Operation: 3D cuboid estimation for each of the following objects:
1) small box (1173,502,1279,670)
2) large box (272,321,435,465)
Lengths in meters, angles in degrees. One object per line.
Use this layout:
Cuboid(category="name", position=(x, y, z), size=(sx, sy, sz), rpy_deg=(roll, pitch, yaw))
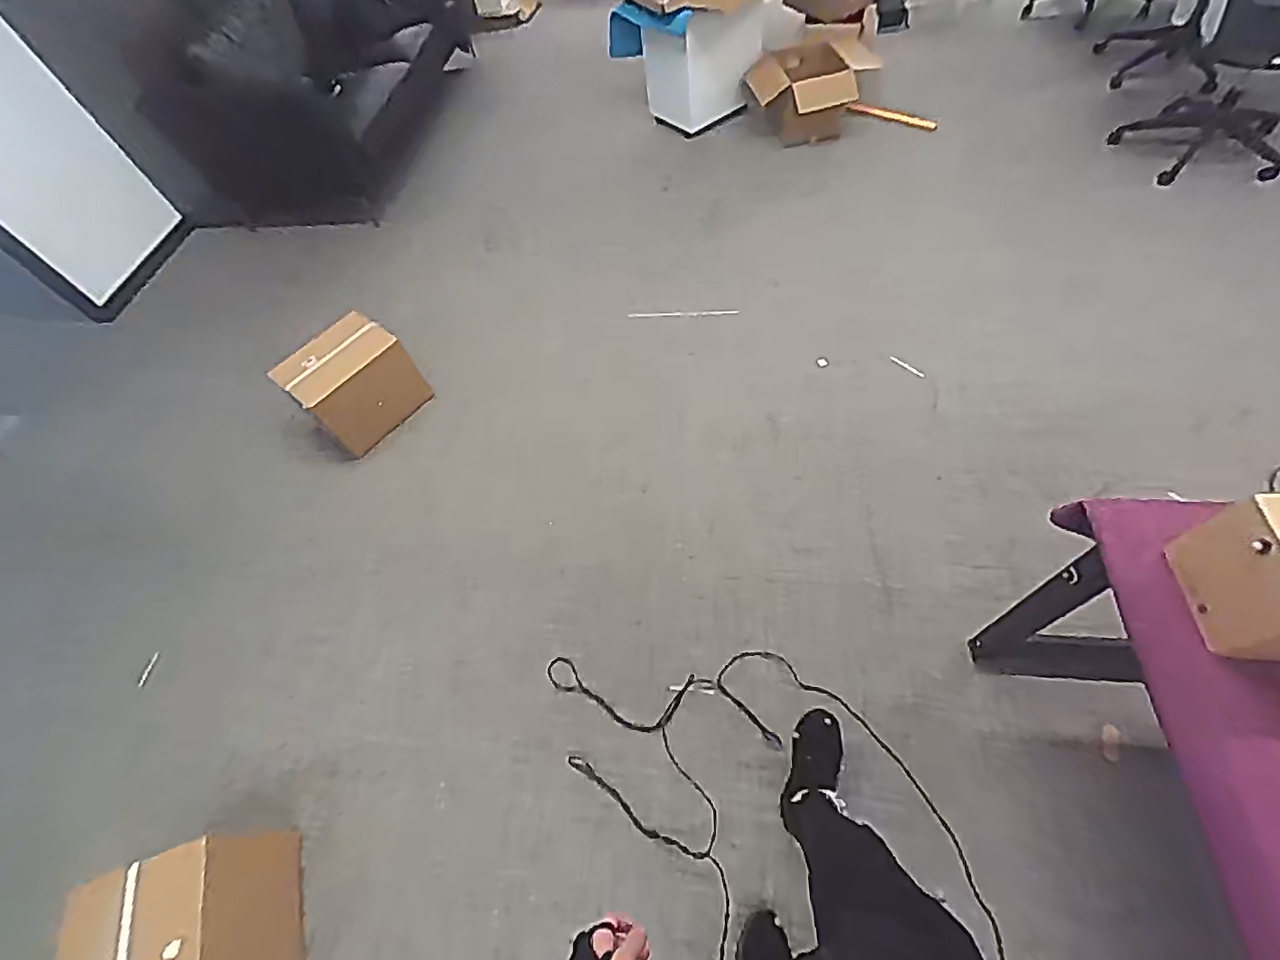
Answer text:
Cuboid(category="small box", position=(0.864, 0.142, 0.690), size=(0.179, 0.176, 0.168), rpy_deg=(1, 57, 8))
Cuboid(category="large box", position=(-1.103, -0.341, 2.124), size=(0.320, 0.320, 0.408), rpy_deg=(31, 68, 26))
